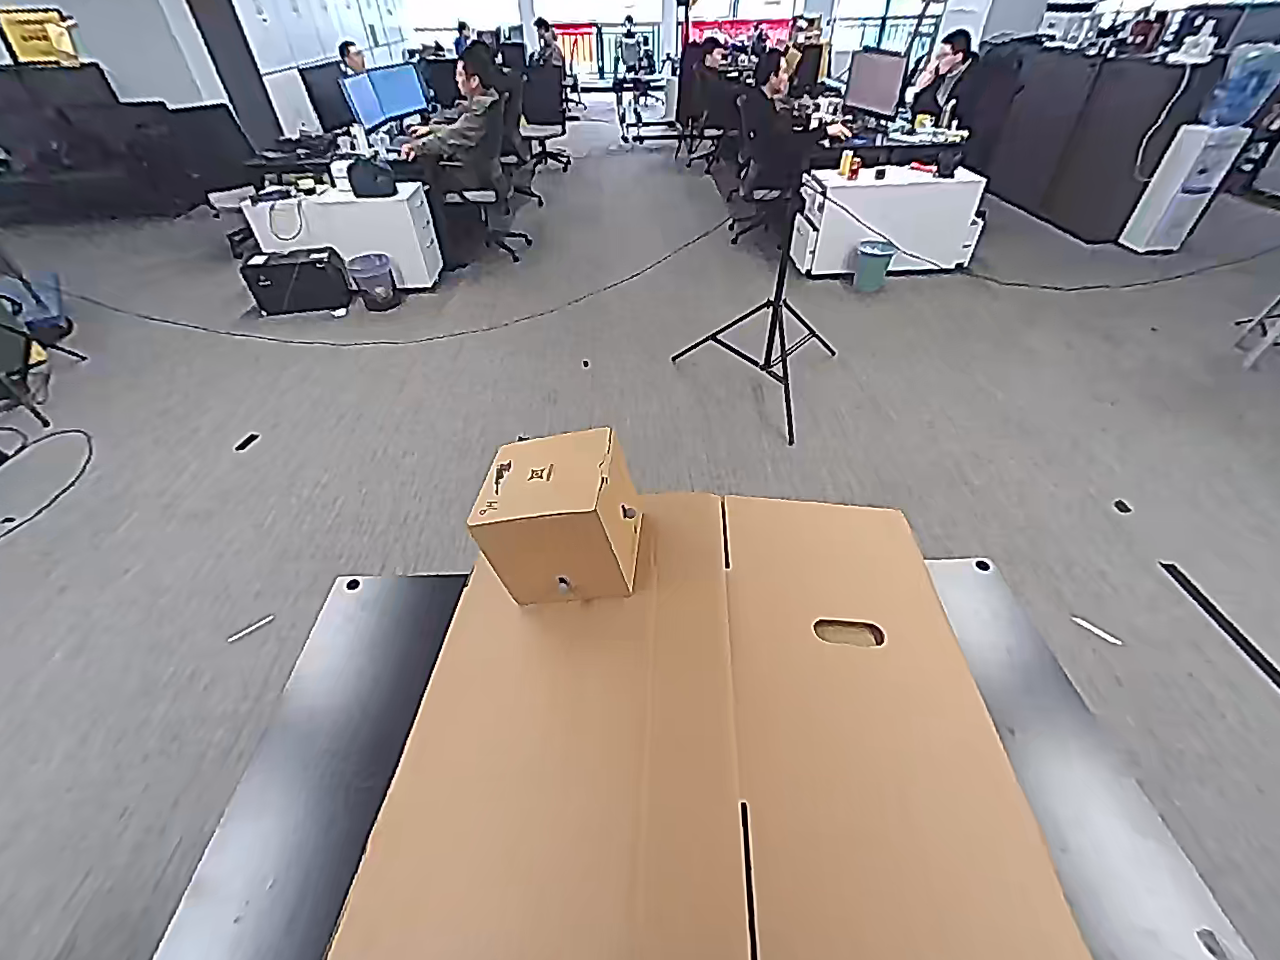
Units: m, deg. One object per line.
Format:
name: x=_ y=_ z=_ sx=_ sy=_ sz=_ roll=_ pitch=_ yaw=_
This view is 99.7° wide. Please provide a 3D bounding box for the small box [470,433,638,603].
small box: x=-0.106 y=0.057 z=0.771 sx=0.179 sy=0.176 sz=0.168 roll=-7 pitch=40 yaw=12
